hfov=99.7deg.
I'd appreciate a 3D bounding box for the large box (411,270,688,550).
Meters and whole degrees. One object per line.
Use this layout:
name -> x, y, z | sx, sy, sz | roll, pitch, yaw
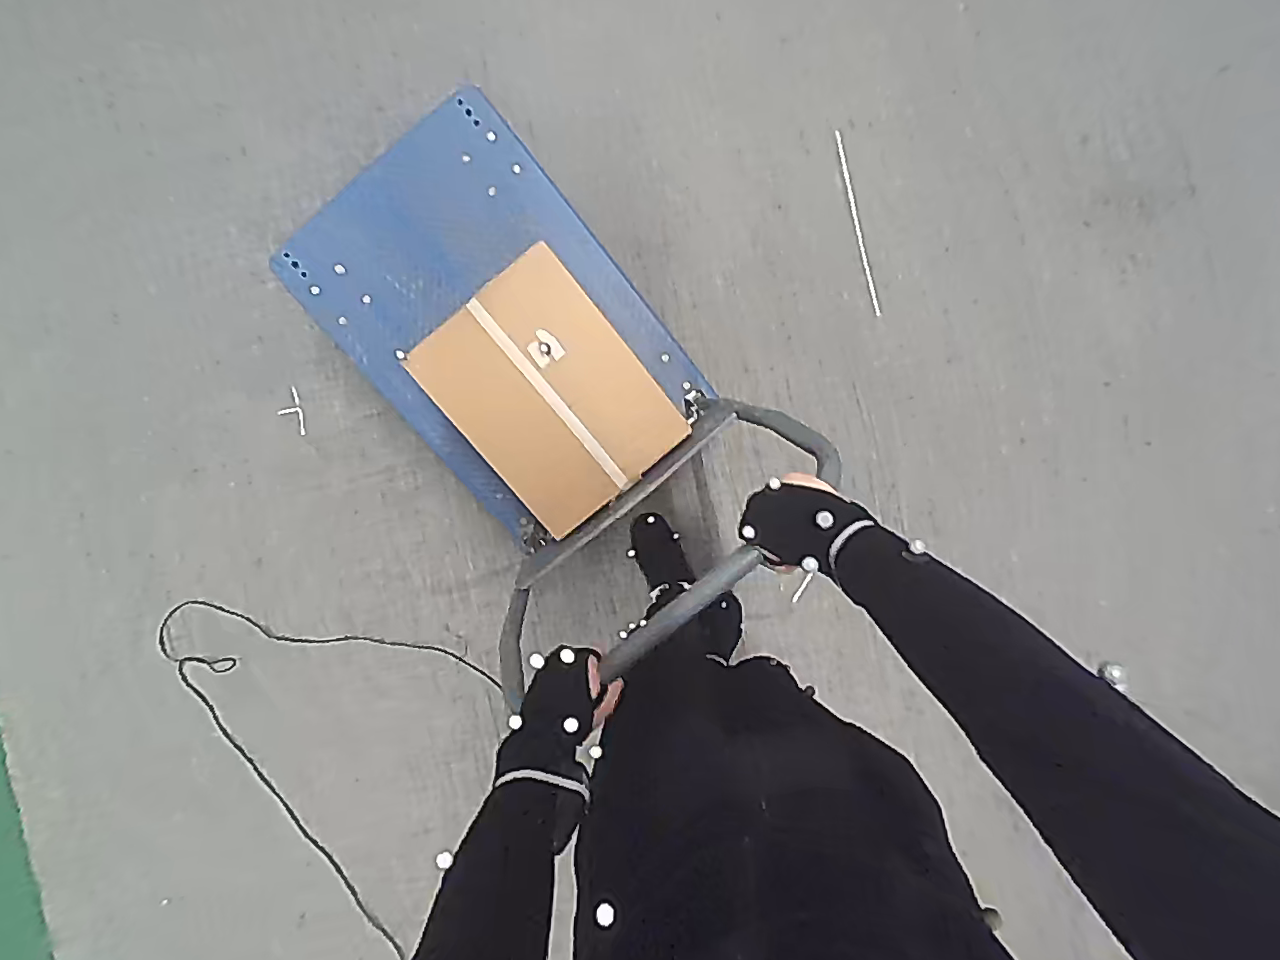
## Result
large box -> -0.158, -0.134, 1.093 | 0.320, 0.320, 0.408 | -40, 98, 2
